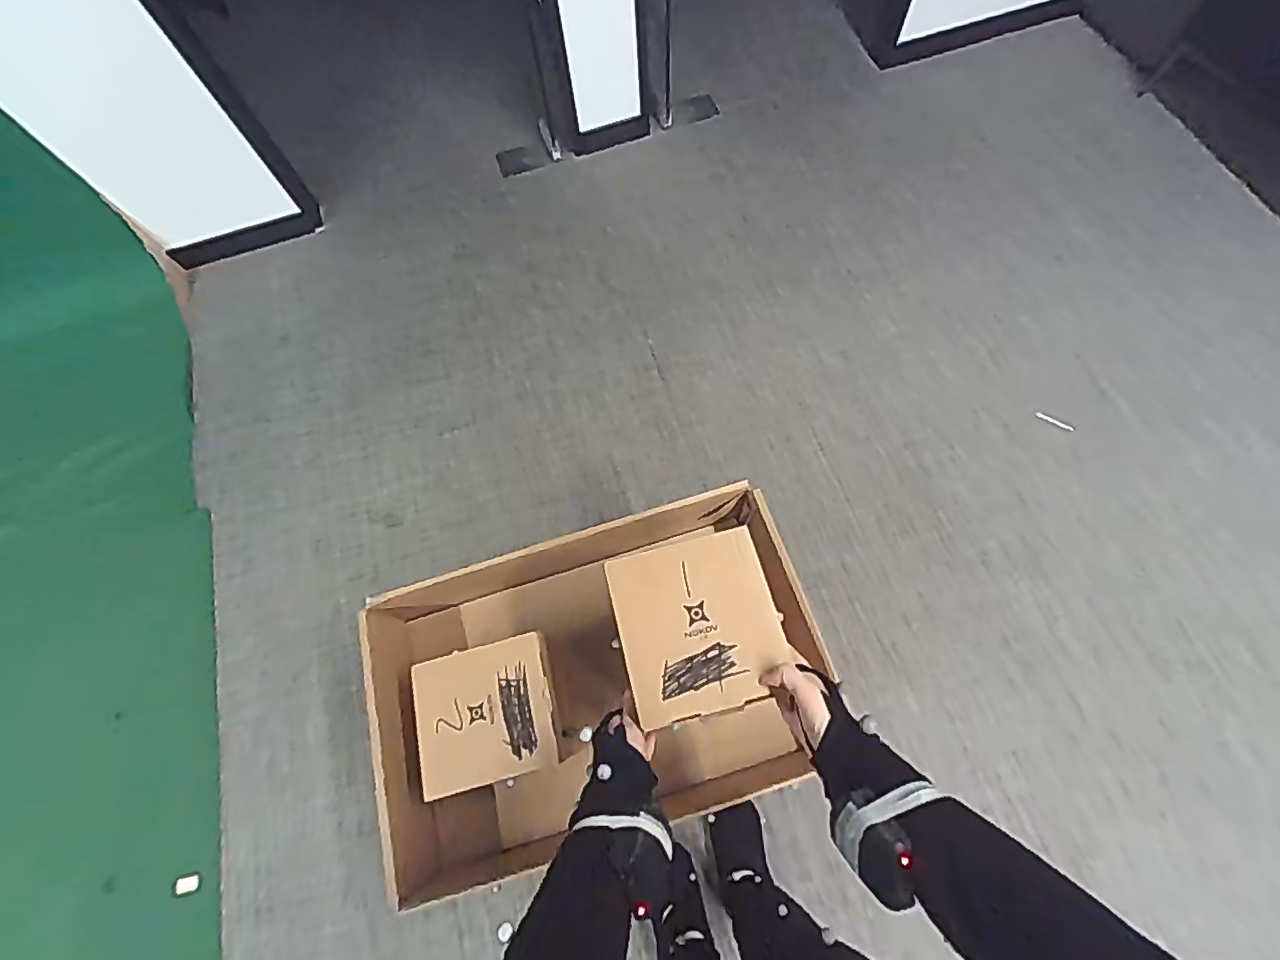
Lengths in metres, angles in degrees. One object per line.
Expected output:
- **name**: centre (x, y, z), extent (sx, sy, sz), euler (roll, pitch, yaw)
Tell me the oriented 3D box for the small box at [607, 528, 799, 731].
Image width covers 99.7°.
- **small box**: centre (0.066, 0.177, 0.635), extent (0.168, 0.176, 0.179), euler (-14, 68, -3)
